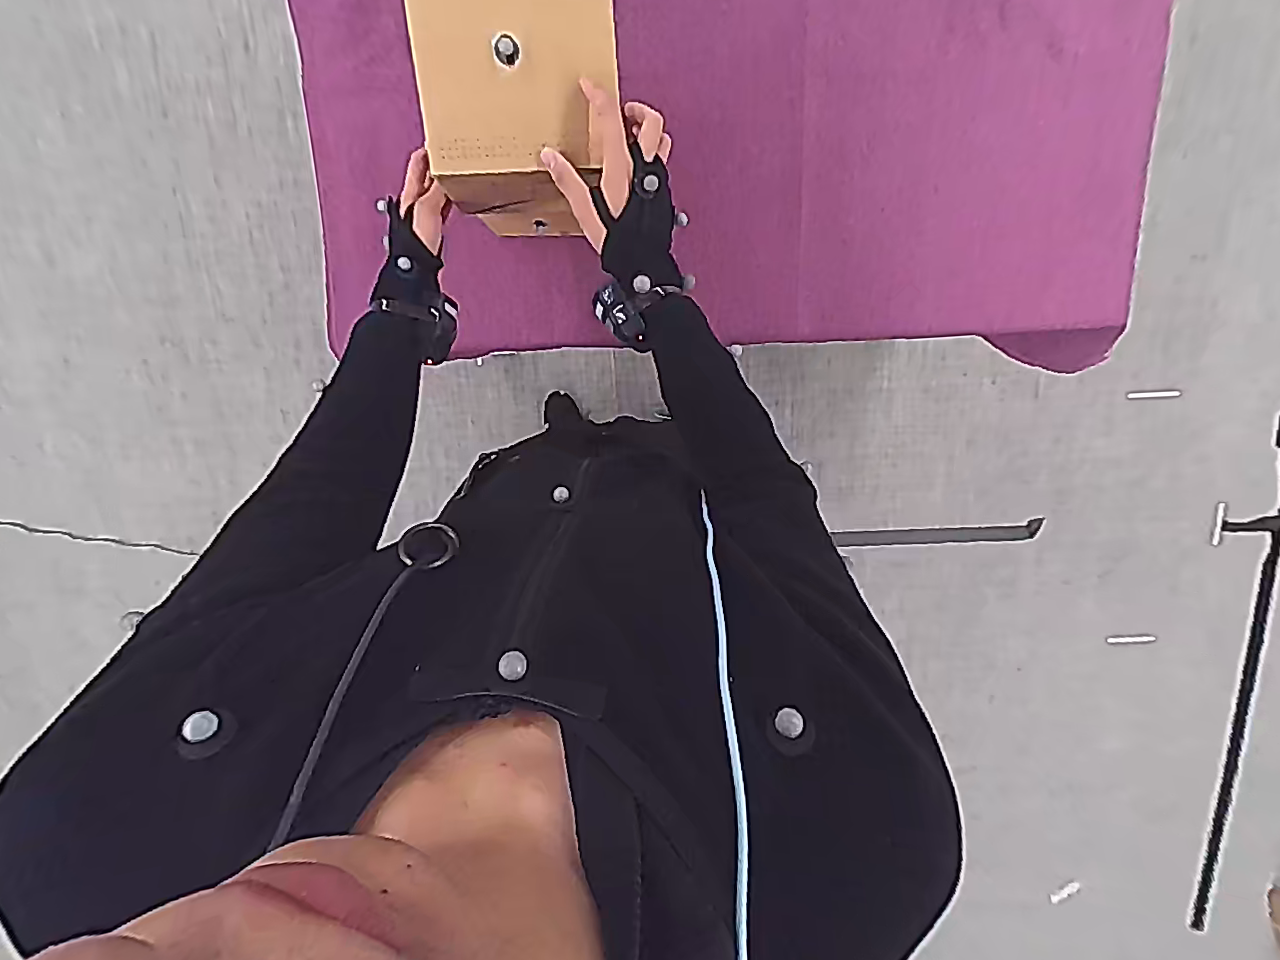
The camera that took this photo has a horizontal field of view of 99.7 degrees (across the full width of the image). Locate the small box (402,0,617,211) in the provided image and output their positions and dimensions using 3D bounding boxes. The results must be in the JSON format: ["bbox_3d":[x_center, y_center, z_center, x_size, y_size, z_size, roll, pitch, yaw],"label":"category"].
[{"bbox_3d":[-0.117,-0.378,0.544,0.179,0.168,0.176,-7,106,-6],"label":"small box"}]

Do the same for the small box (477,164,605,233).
[{"bbox_3d":[-0.131,-0.434,0.711,0.168,0.176,0.179,0,102,-2],"label":"small box"}]
